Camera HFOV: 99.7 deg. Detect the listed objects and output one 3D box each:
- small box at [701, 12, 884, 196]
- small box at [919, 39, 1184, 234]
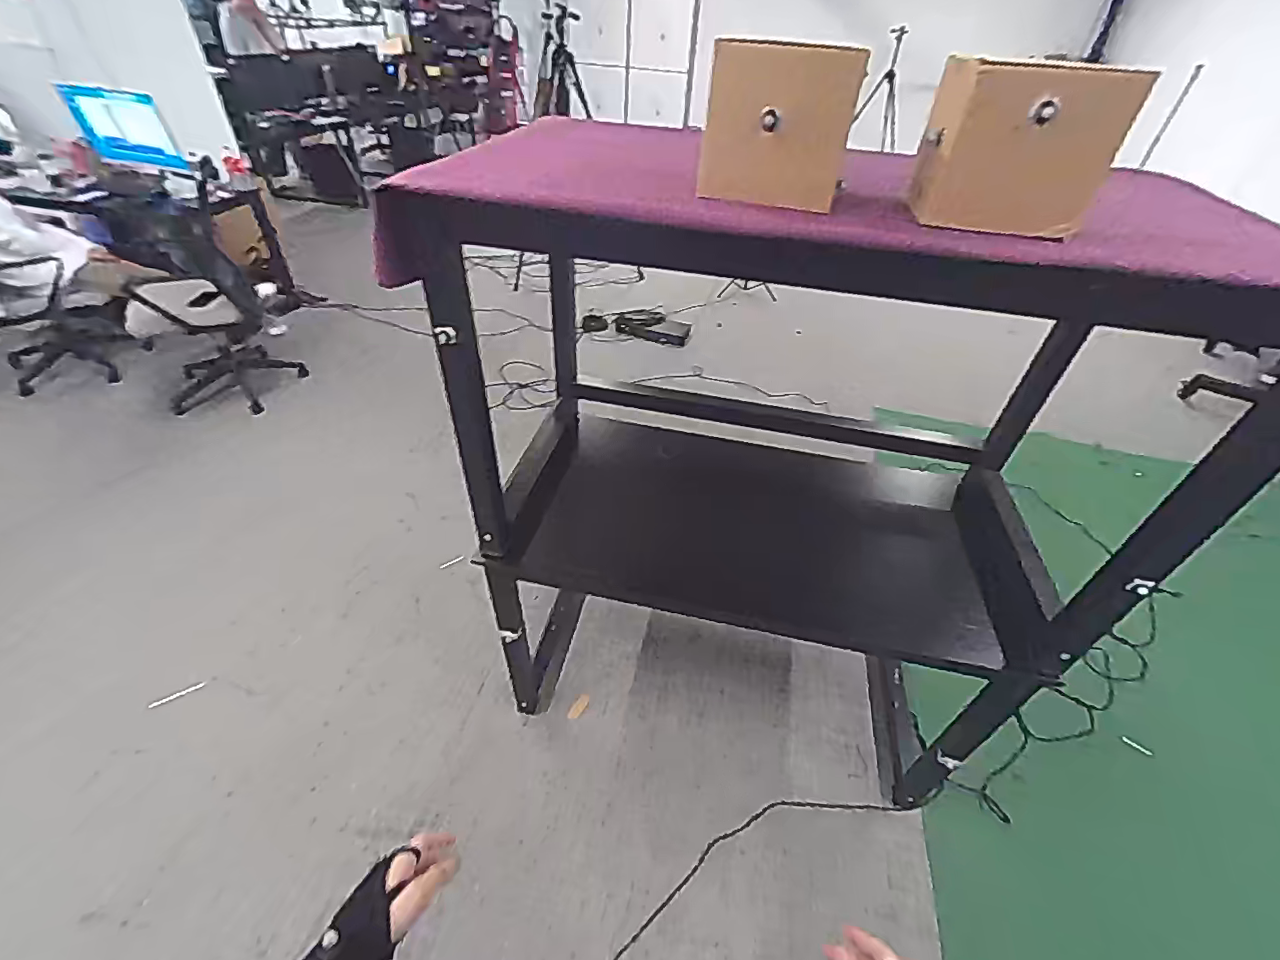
[{"bbox_3d":[0.188,-0.472,0.682,0.179,0.176,0.168,15,42,11],"label":"small box"},{"bbox_3d":[0.452,-0.406,0.639,0.179,0.176,0.168,13,42,8],"label":"small box"}]
